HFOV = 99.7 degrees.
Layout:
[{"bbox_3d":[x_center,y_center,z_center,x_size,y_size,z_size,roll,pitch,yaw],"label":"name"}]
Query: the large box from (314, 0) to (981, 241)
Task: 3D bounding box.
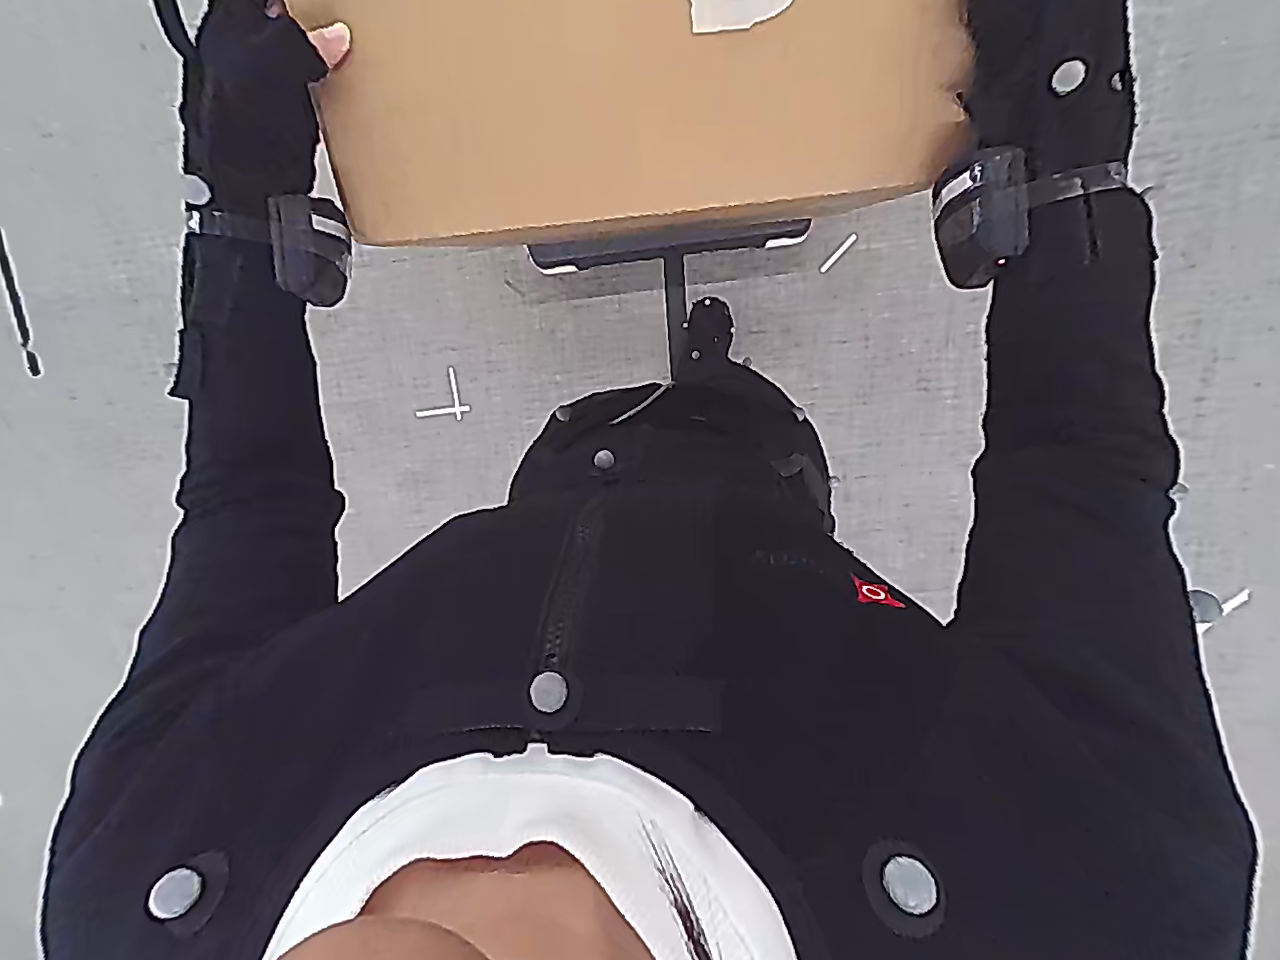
[{"bbox_3d":[0.004,-0.387,0.441,0.408,0.320,0.320,-3,114,7],"label":"large box"}]
